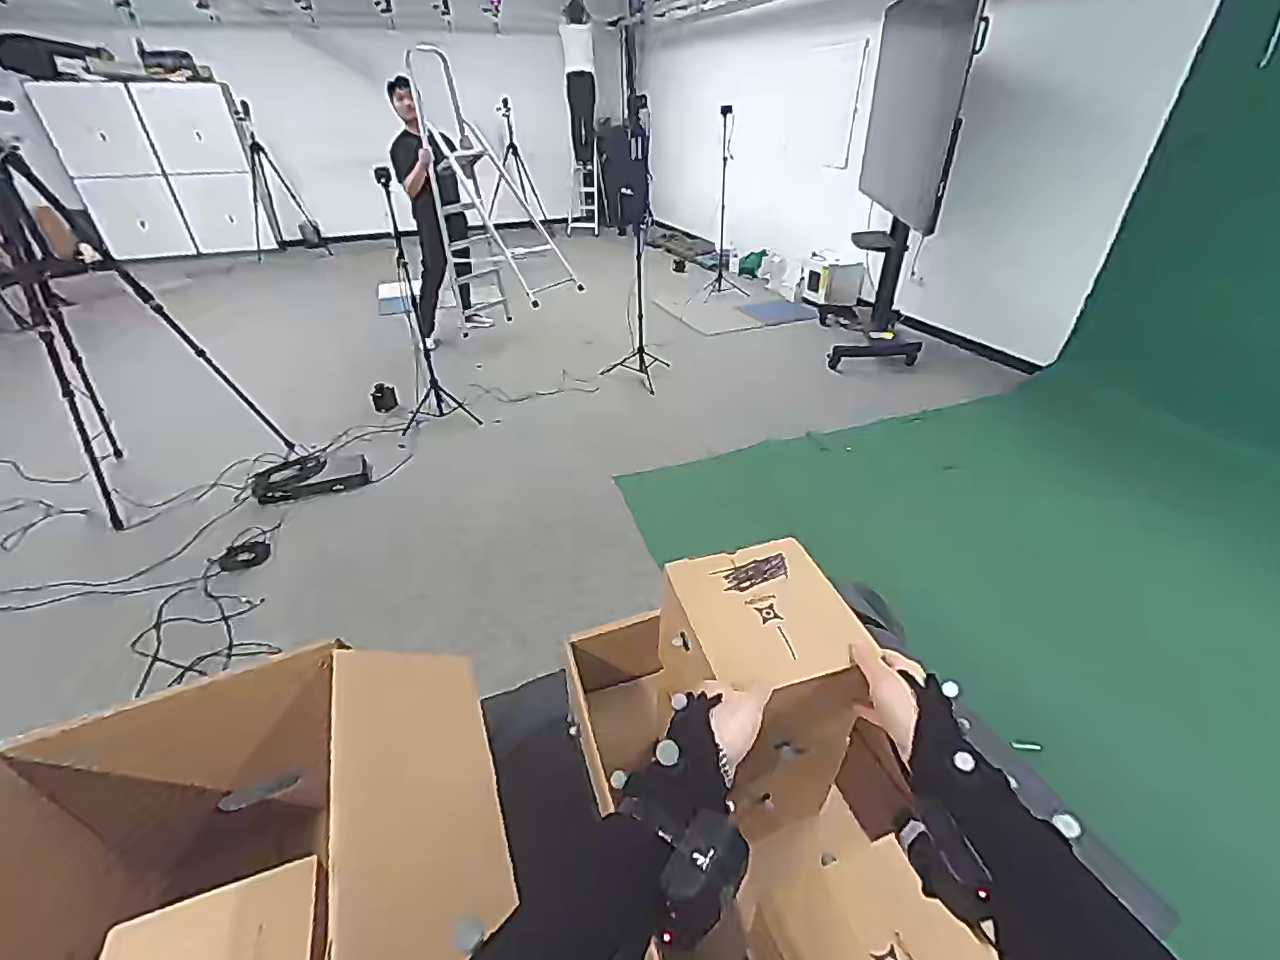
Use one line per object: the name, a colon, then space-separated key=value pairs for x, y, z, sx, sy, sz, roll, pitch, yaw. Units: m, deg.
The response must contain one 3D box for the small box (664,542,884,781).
small box: x=0.130 y=0.199 z=0.608 sx=0.168 sy=0.176 sz=0.179 roll=-9 pitch=40 yaw=-13
